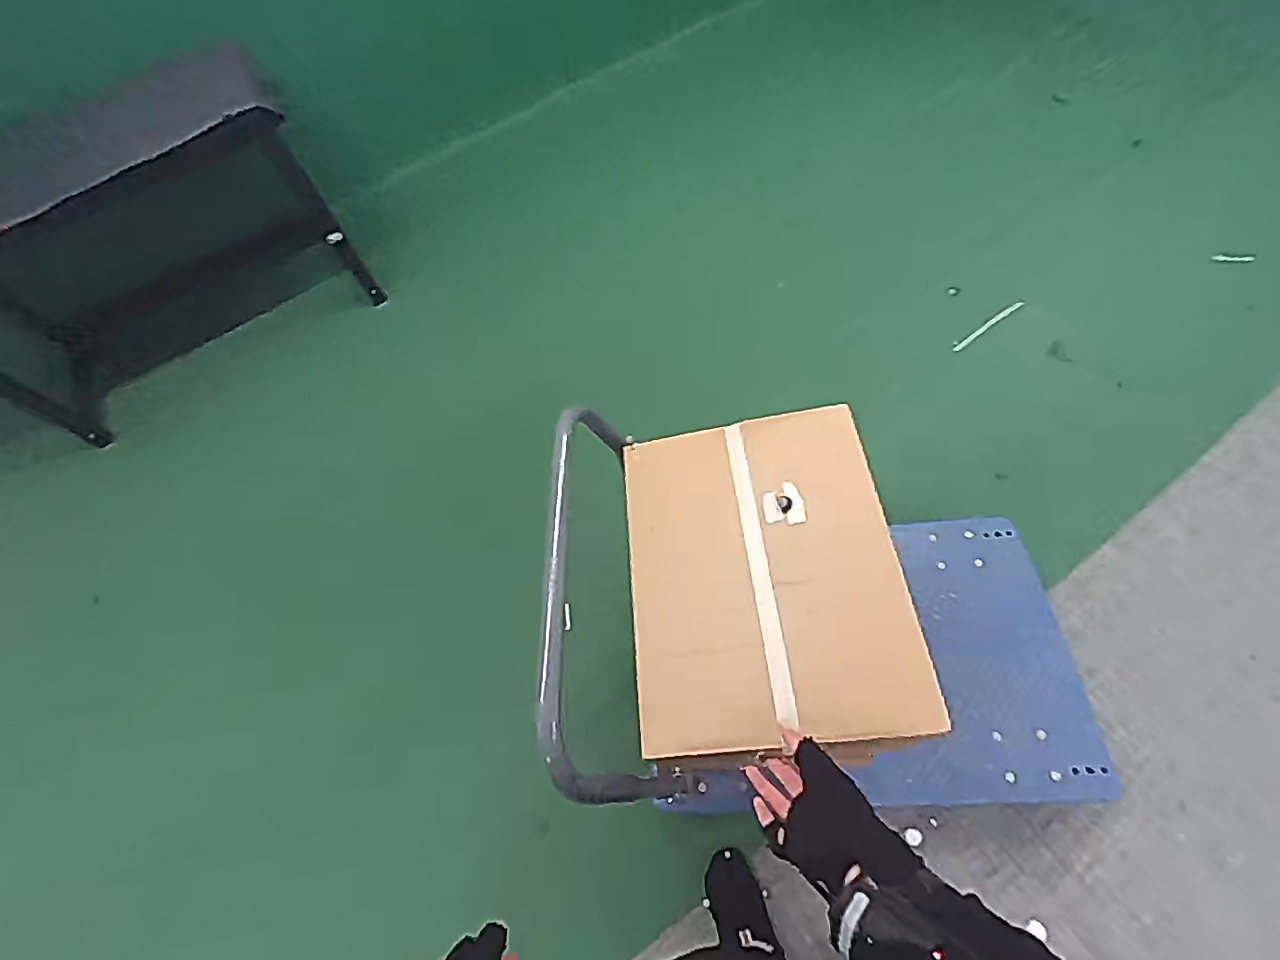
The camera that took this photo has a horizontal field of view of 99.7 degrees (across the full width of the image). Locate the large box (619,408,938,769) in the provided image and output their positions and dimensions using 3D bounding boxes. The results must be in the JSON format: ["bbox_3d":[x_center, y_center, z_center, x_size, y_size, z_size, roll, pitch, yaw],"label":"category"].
[{"bbox_3d":[0.168,0.171,0.777,0.320,0.320,0.408,-10,58,9],"label":"large box"}]
